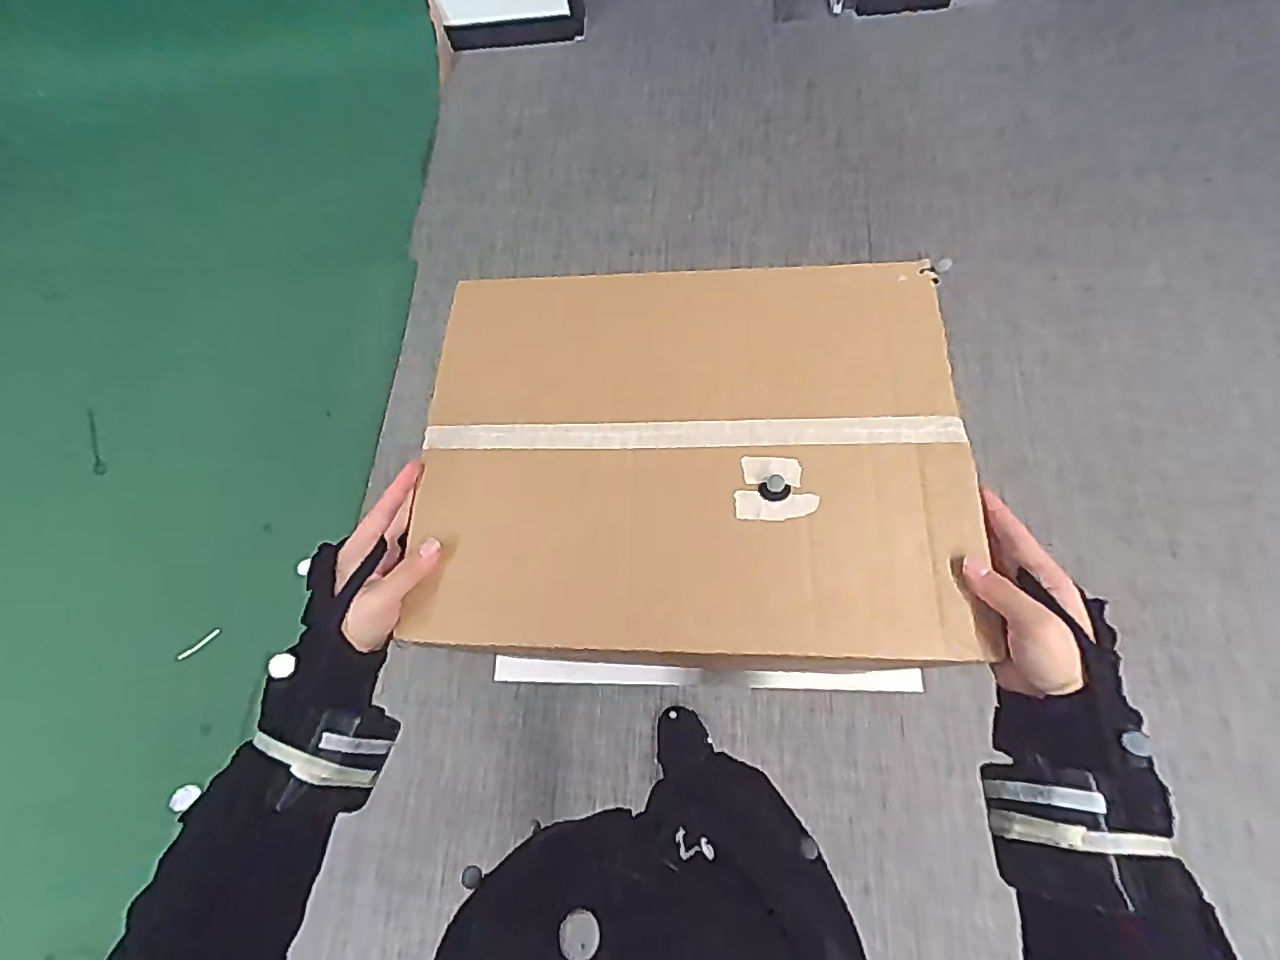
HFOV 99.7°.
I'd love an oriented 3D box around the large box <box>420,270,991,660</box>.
[{"bbox_3d":[0.051,0.017,0.563,0.408,0.320,0.320,0,70,5],"label":"large box"}]
